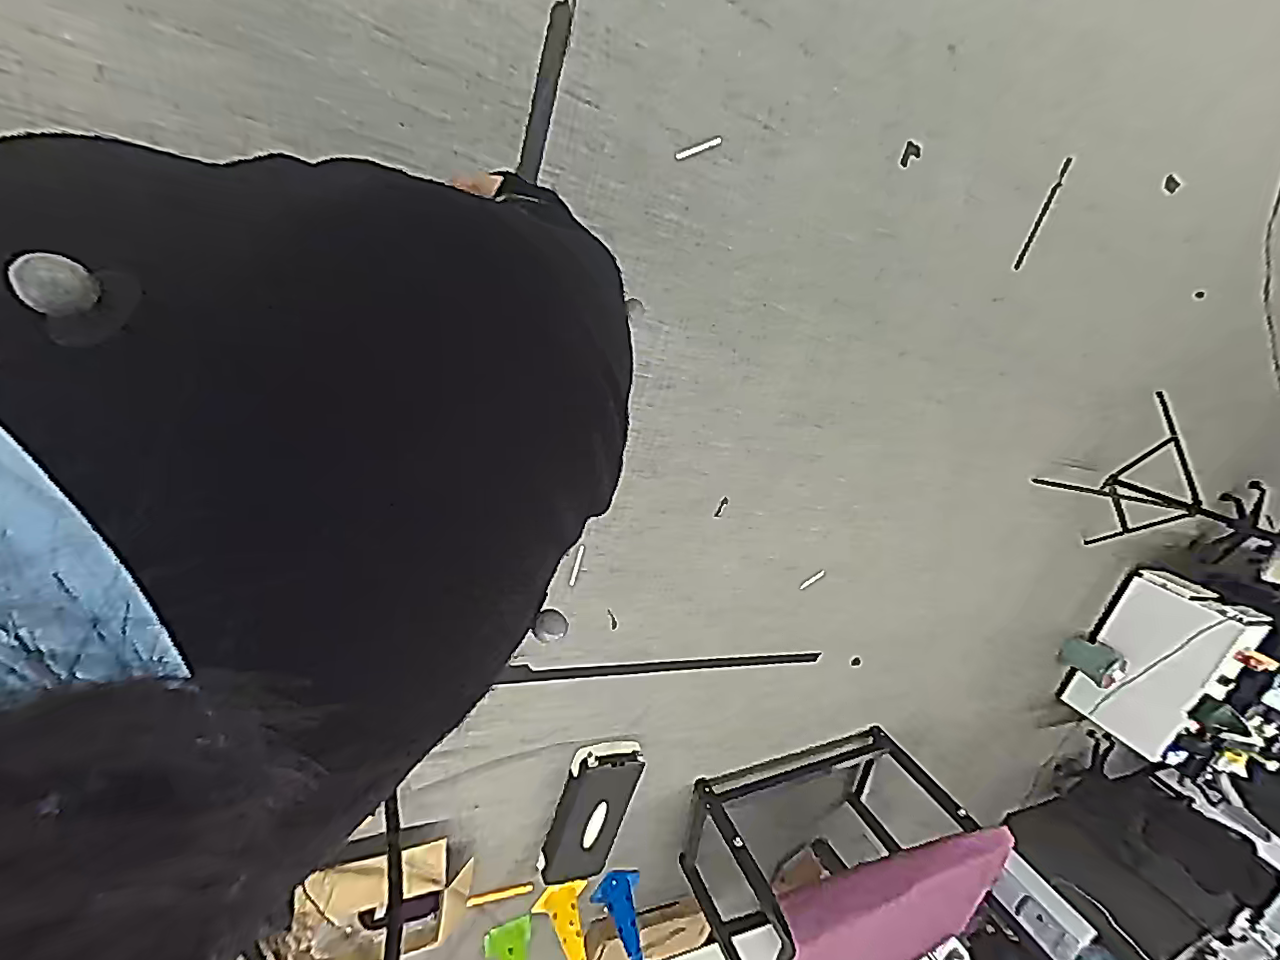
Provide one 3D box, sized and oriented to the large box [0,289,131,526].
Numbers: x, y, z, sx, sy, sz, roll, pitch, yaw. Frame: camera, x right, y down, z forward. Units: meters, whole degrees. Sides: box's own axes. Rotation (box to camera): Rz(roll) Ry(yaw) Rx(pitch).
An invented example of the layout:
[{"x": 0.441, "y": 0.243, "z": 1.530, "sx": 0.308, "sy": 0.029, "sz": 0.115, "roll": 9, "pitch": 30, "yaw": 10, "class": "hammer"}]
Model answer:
[{"x": -1.098, "y": -0.114, "z": 0.781, "sx": 0.320, "sy": 0.320, "sz": 0.408, "roll": -26, "pitch": 121, "yaw": -13, "class": "large box"}]
